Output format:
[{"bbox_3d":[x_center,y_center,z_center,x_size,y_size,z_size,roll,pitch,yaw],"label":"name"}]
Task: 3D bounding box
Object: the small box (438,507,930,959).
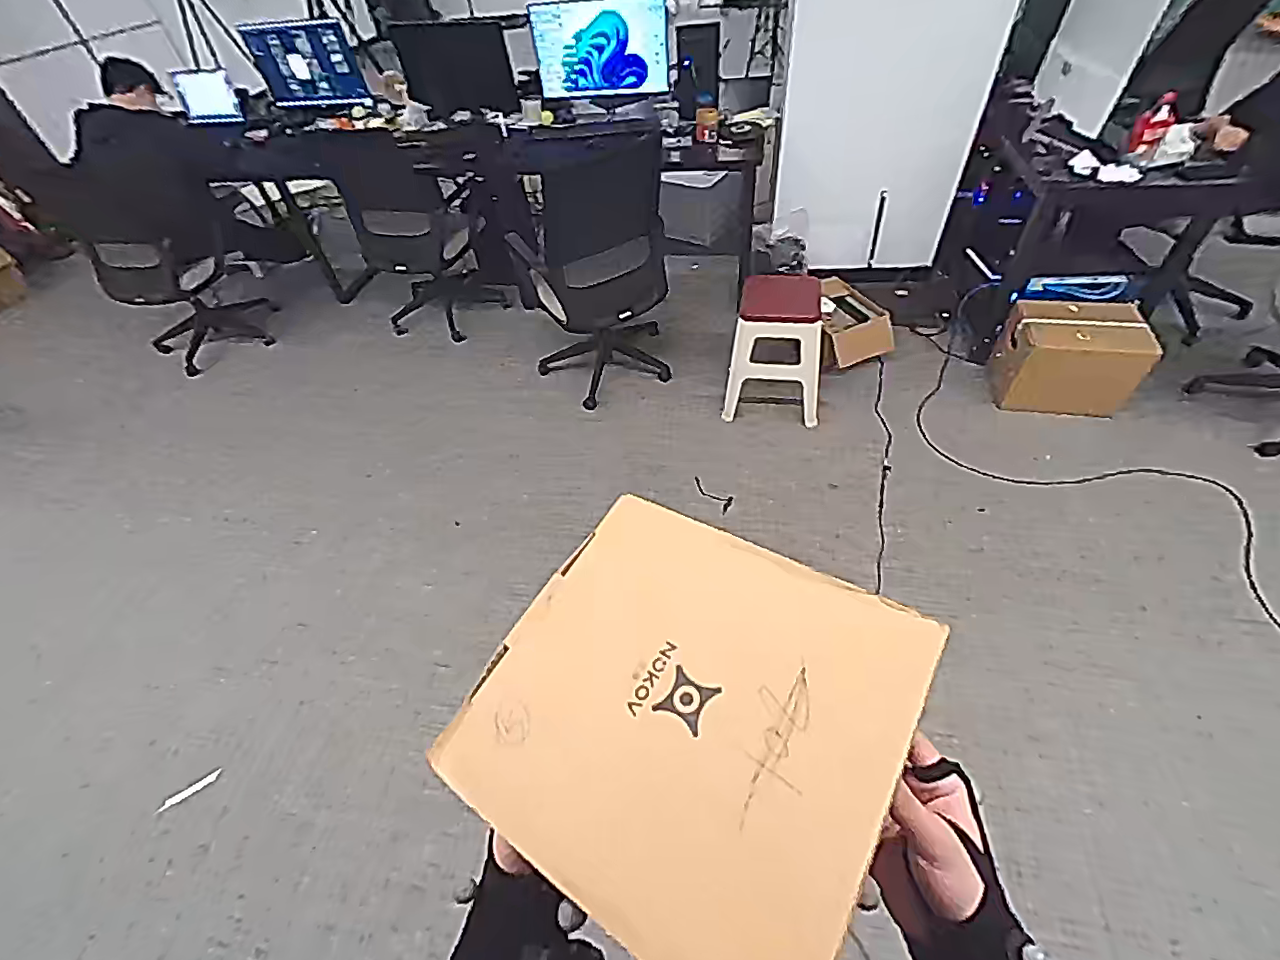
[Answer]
[{"bbox_3d":[0.032,0.150,0.308,0.179,0.176,0.168,22,60,27],"label":"small box"}]
